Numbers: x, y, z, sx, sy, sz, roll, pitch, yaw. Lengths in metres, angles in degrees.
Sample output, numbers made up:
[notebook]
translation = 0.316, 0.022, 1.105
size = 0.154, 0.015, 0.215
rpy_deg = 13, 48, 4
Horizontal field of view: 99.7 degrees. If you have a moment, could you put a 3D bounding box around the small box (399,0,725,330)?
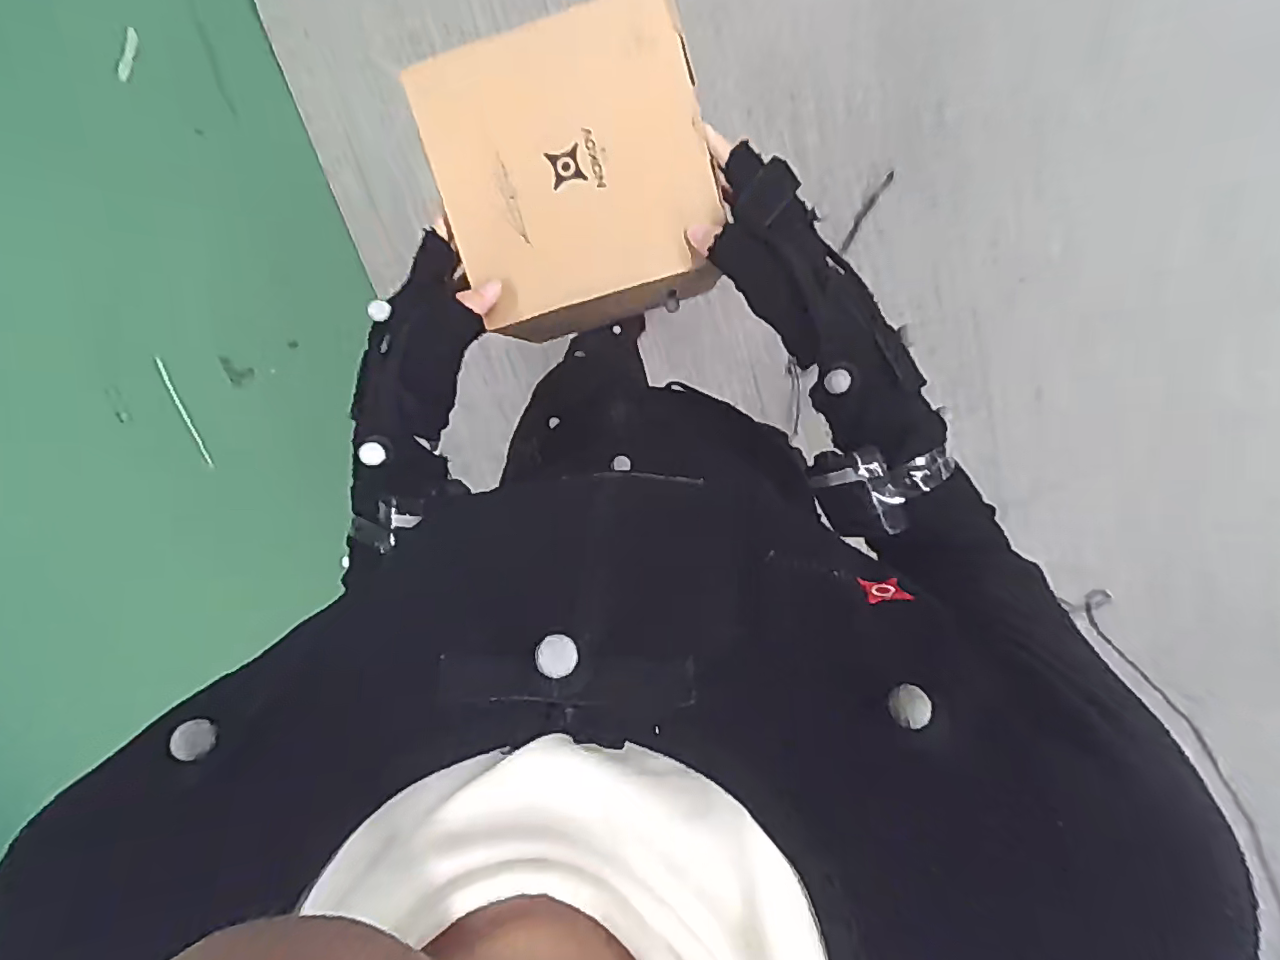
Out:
[small box]
translation = -0.045, -0.225, 0.425
size = 0.179, 0.176, 0.168
rpy_deg = -16, 100, 6
